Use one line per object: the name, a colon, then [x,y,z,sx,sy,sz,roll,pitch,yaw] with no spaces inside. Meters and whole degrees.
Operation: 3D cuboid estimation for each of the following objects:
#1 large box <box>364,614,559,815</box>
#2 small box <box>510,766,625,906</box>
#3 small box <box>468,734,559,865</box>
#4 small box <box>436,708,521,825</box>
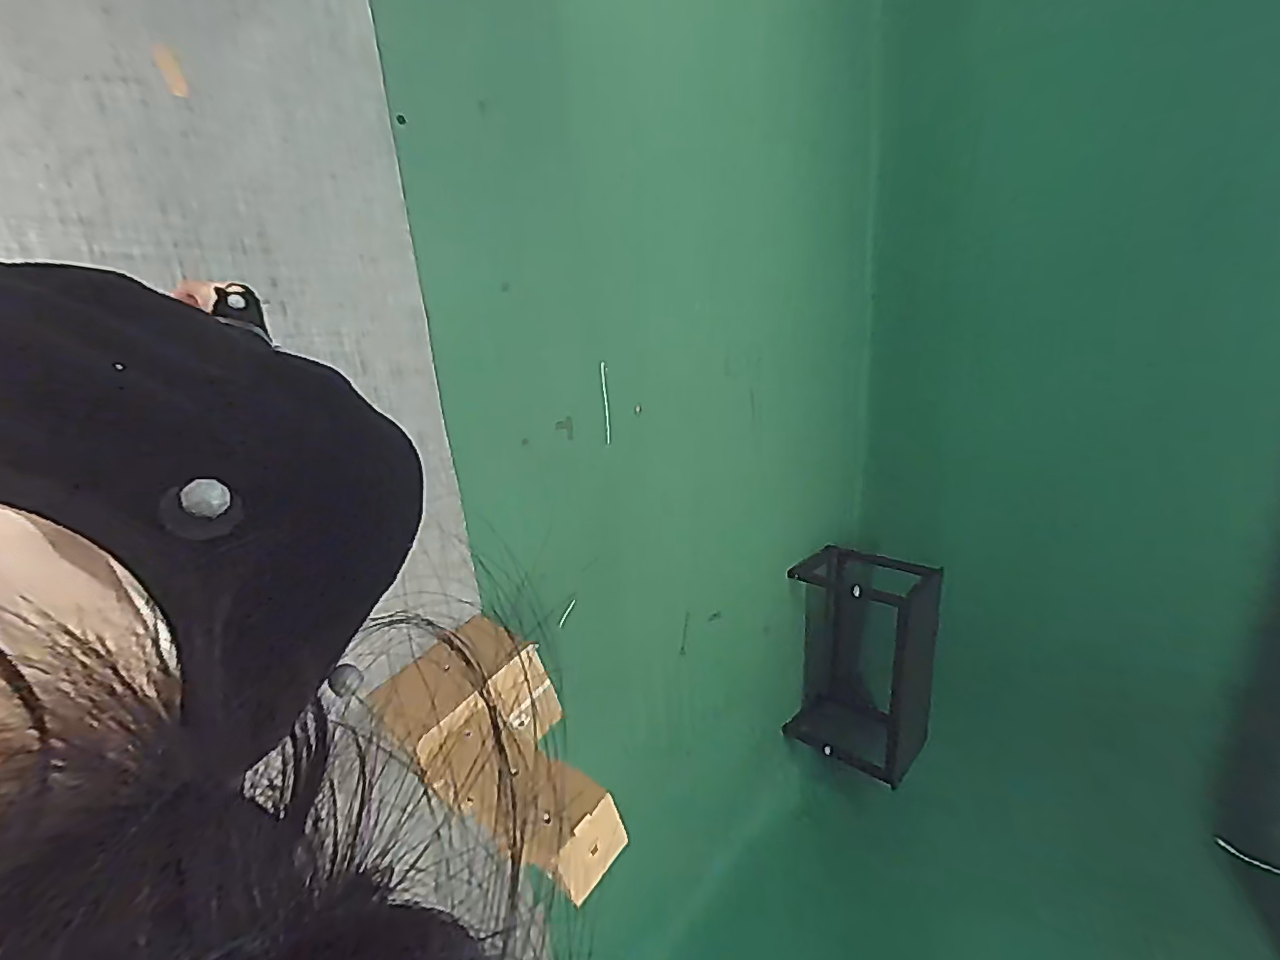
large box: [-0.530,0.683,1.639,0.408,0.320,0.320,-38,124,-38]
small box: [-0.163,0.776,1.203,0.168,0.176,0.179,-35,122,-38]
small box: [-0.290,0.761,1.304,0.179,0.176,0.168,-37,123,-38]
small box: [-0.410,0.740,1.416,0.179,0.176,0.168,-32,120,-39]
